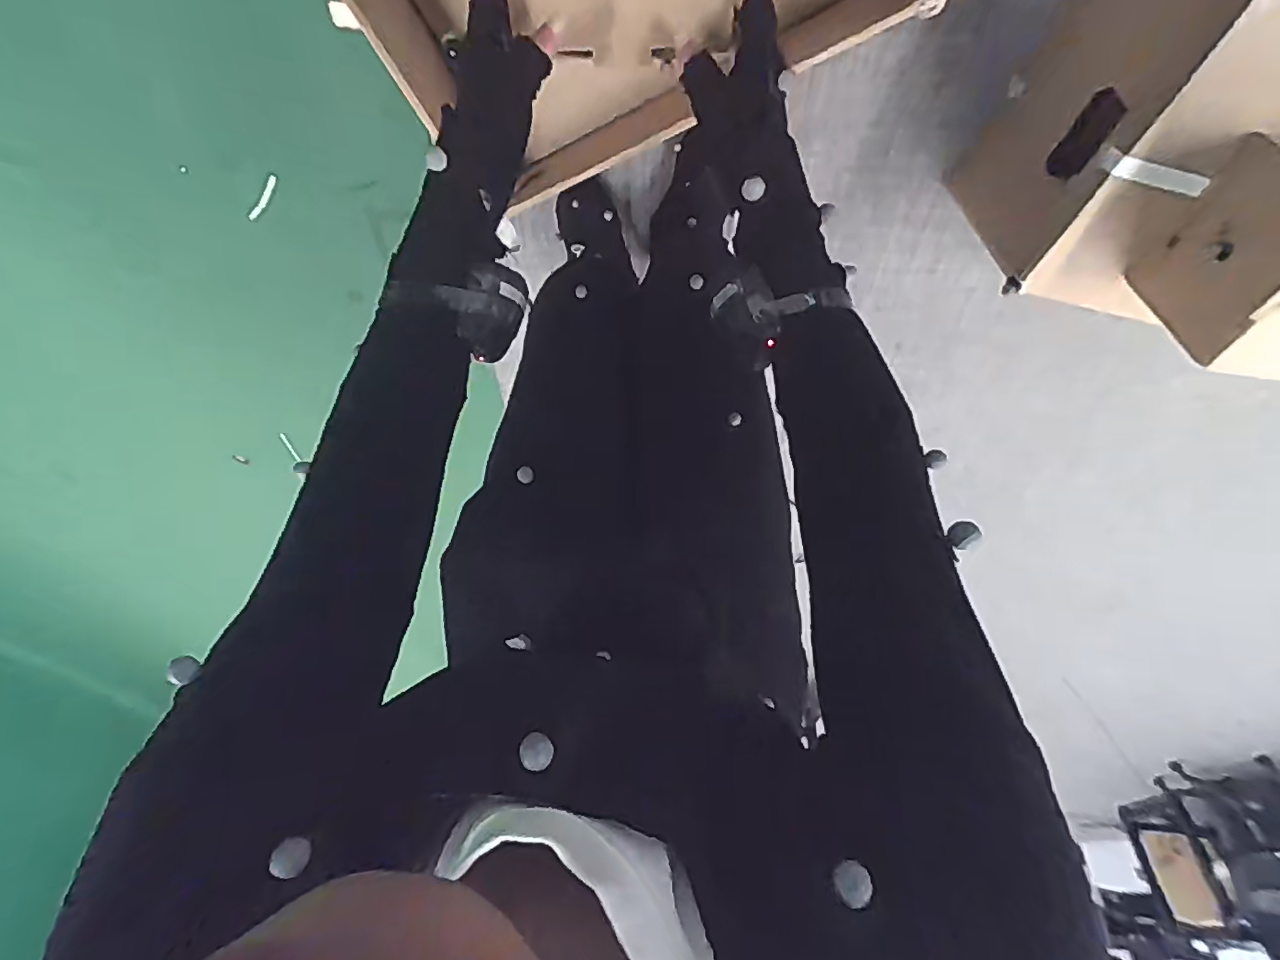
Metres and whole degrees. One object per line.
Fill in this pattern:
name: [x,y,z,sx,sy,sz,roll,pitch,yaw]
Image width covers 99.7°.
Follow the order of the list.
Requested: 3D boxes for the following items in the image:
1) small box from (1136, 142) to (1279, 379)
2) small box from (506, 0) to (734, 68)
small box: [0.677,-0.218,0.548,0.179,0.176,0.168,8,141,-1]
small box: [-0.012,-0.428,0.415,0.168,0.176,0.179,0,126,1]
